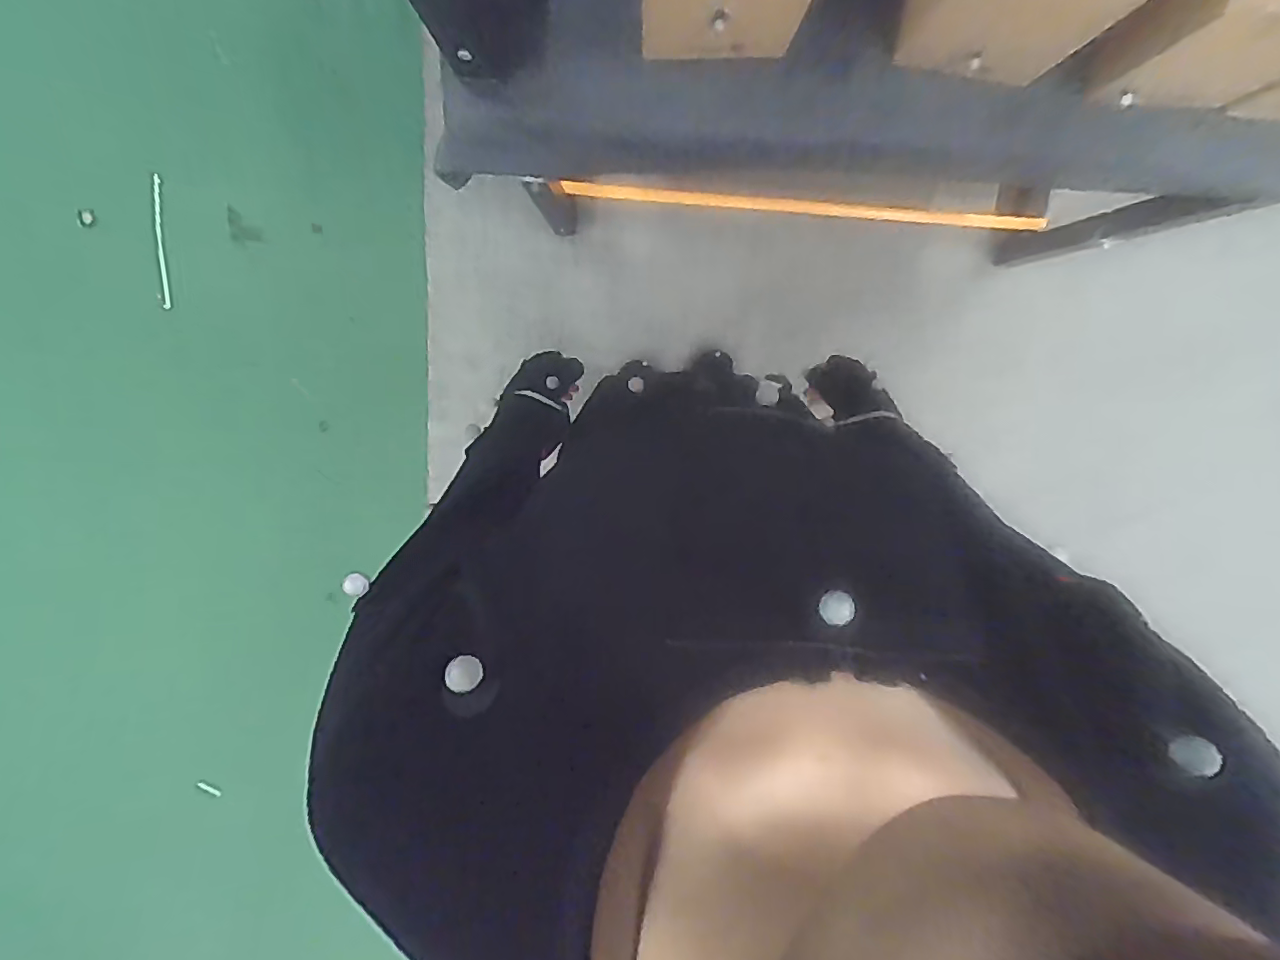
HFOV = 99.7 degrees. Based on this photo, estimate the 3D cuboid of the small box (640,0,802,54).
[{"bbox_3d":[0.083,-0.556,0.529,0.168,0.176,0.179,-1,101,-1],"label":"small box"}]
